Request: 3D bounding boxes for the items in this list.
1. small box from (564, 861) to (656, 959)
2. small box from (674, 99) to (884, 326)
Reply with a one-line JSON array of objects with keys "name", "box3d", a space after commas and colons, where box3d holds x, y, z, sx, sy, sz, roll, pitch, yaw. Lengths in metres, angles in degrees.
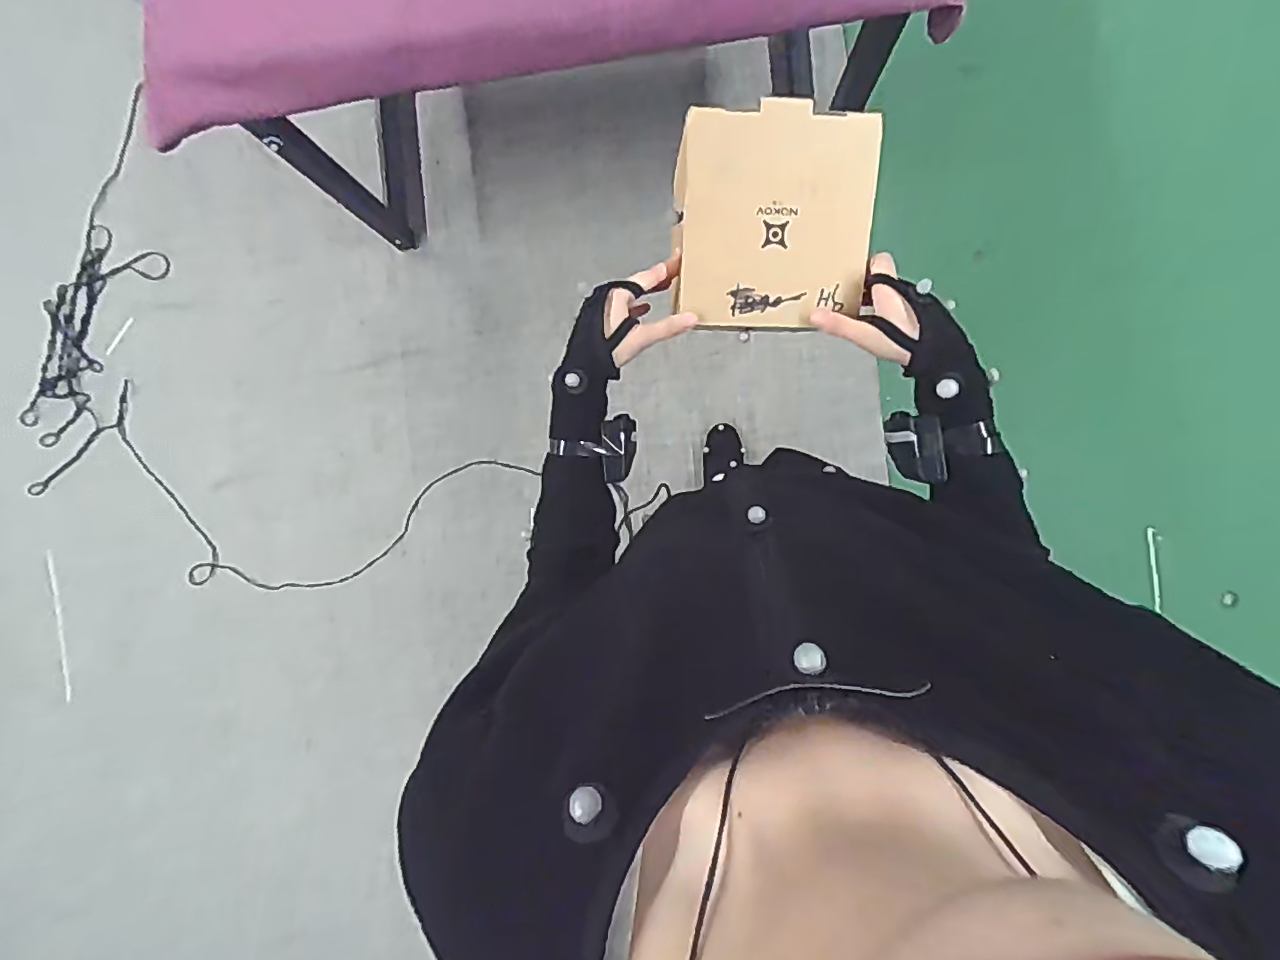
[{"name": "small box", "box3d": [-0.065, 1.026, 1.261, 0.168, 0.176, 0.179, -12, 88, 8]}, {"name": "small box", "box3d": [0.122, -0.252, 0.549, 0.168, 0.176, 0.179, 1, 105, 1]}]
